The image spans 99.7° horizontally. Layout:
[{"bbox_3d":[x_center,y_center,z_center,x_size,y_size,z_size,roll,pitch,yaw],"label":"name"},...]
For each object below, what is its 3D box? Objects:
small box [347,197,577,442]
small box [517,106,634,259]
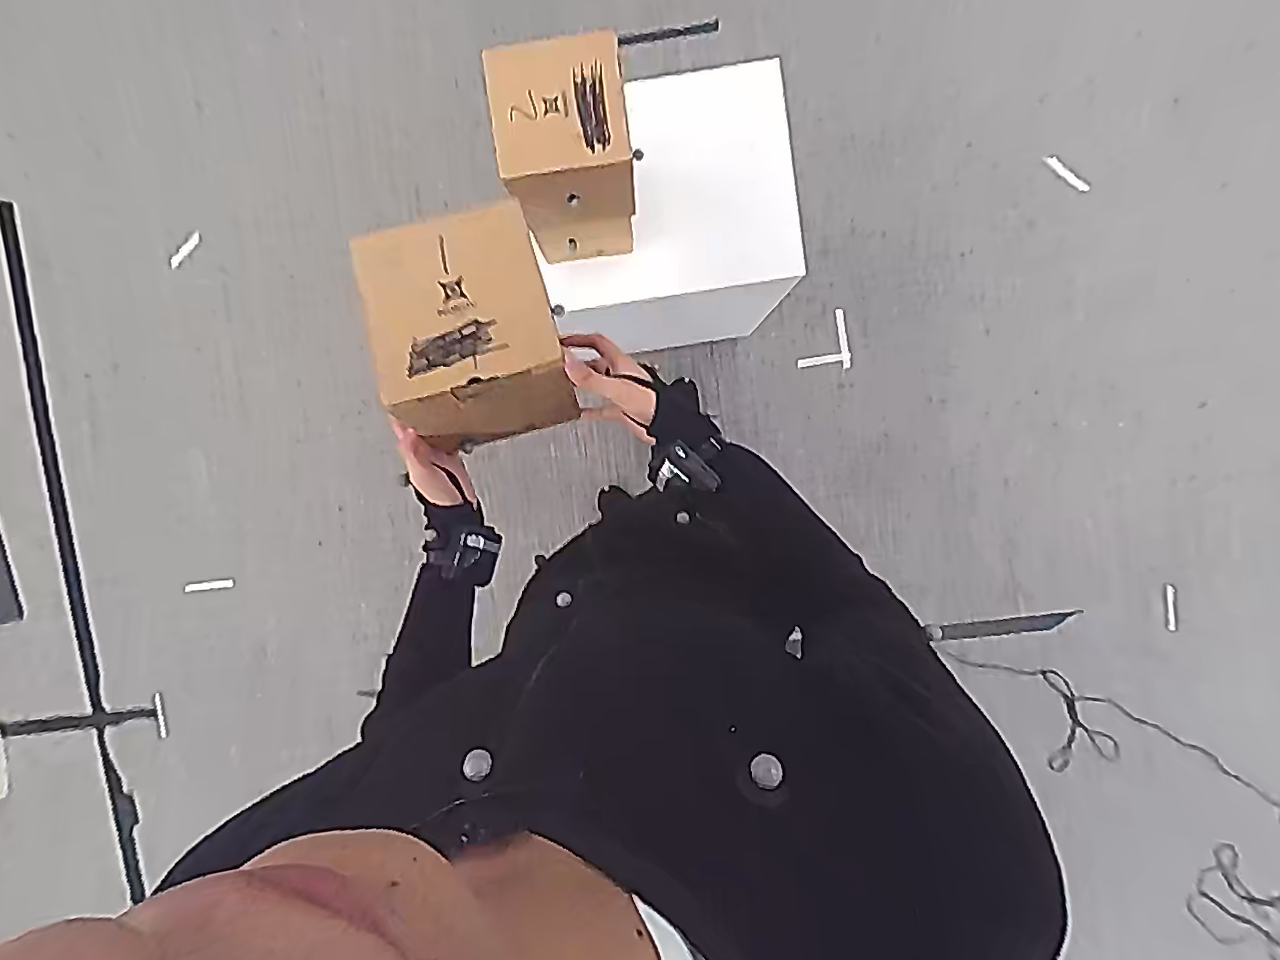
[{"bbox_3d":[-0.171,-0.149,0.569,0.168,0.176,0.179,-16,79,-4],"label":"small box"},{"bbox_3d":[-0.102,-0.496,0.932,0.168,0.176,0.179,-7,93,1],"label":"small box"}]
